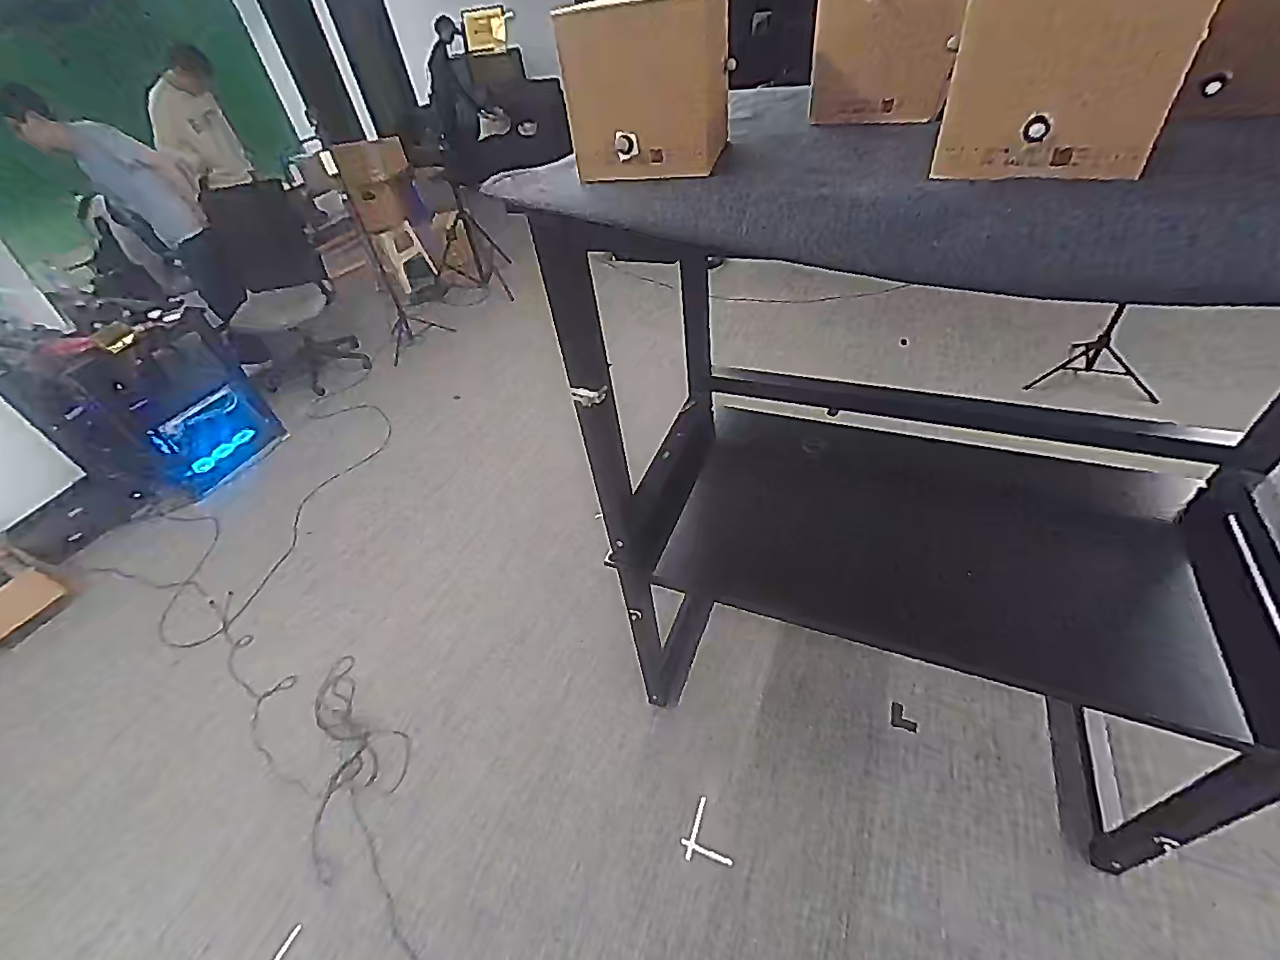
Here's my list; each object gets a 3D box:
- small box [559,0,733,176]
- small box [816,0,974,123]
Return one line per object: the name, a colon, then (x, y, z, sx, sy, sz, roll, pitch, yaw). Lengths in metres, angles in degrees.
small box: (0.019, -0.488, 0.664, 0.168, 0.176, 0.179, 5, 44, 15)
small box: (0.345, -0.601, 0.733, 0.168, 0.176, 0.179, 15, 48, 25)
